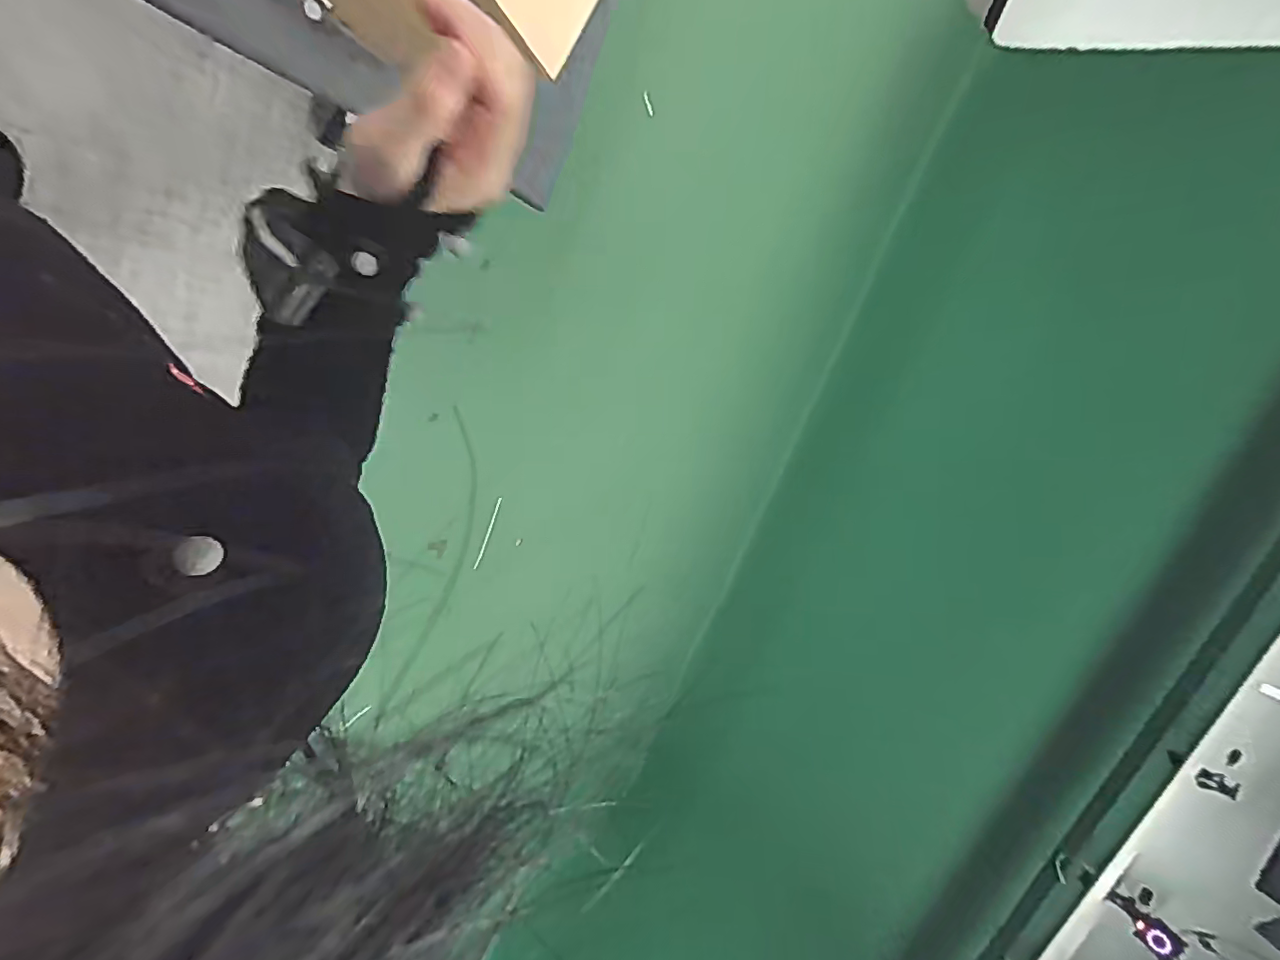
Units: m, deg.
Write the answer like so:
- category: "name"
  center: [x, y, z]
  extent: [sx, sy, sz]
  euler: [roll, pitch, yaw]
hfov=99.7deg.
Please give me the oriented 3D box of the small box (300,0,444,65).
- category: "small box"
  center: [-0.247, -0.534, 0.505]
  extent: [0.168, 0.176, 0.179]
  euler: [8, 108, -54]

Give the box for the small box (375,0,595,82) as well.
- category: "small box"
  center: [-0.135, -0.454, 0.417]
  extent: [0.179, 0.176, 0.168]
  euler: [27, 92, -55]
